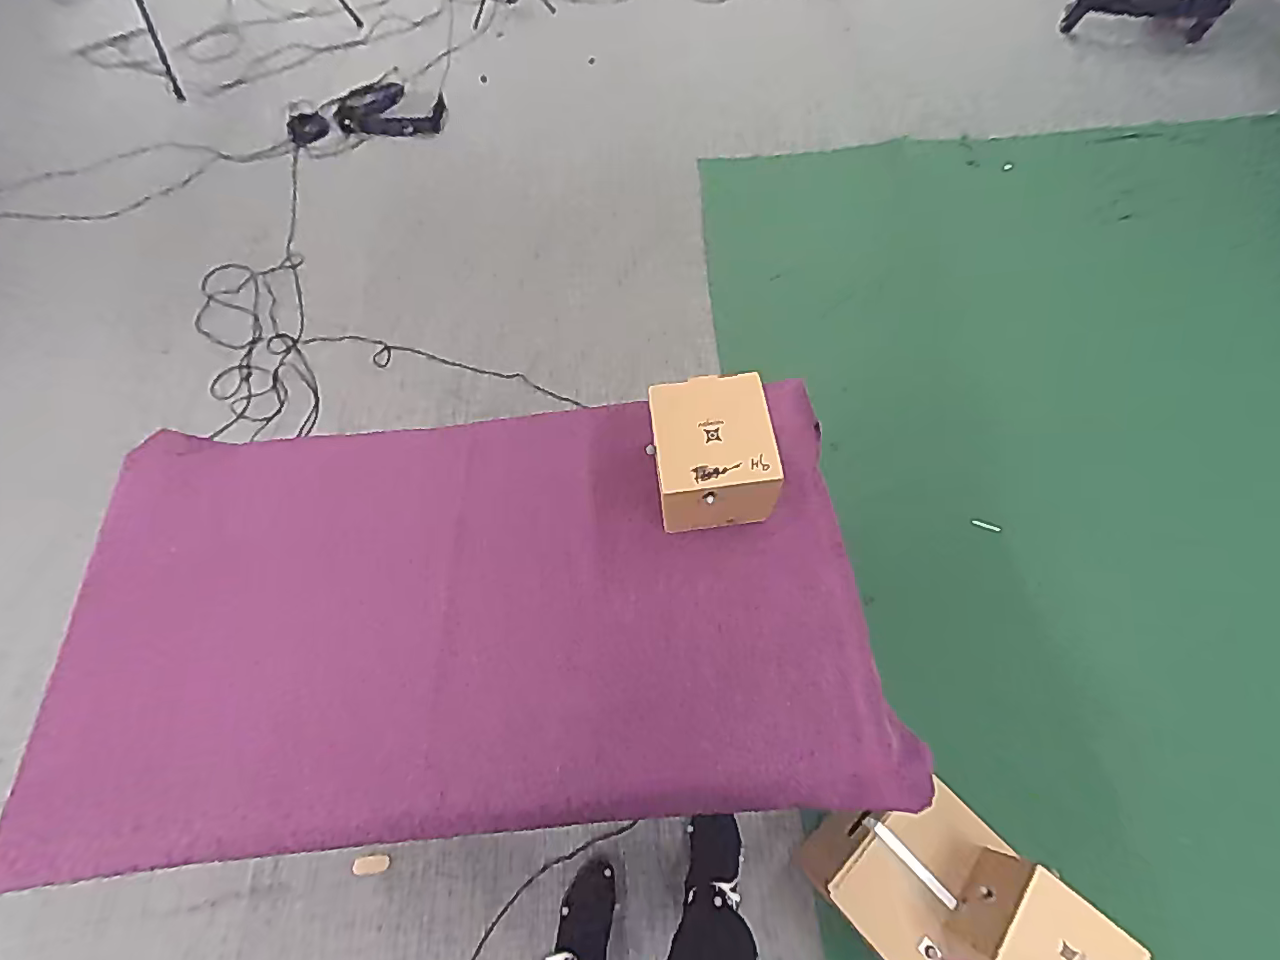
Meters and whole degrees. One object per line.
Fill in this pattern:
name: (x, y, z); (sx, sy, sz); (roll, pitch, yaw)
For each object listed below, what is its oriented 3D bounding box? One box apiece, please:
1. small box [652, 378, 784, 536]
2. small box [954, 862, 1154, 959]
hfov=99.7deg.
small box: (0.110, -0.030, 0.829); (0.168, 0.176, 0.179); (-8, 64, 2)
small box: (0.655, 0.760, 0.875); (0.179, 0.176, 0.168); (37, 71, 18)
